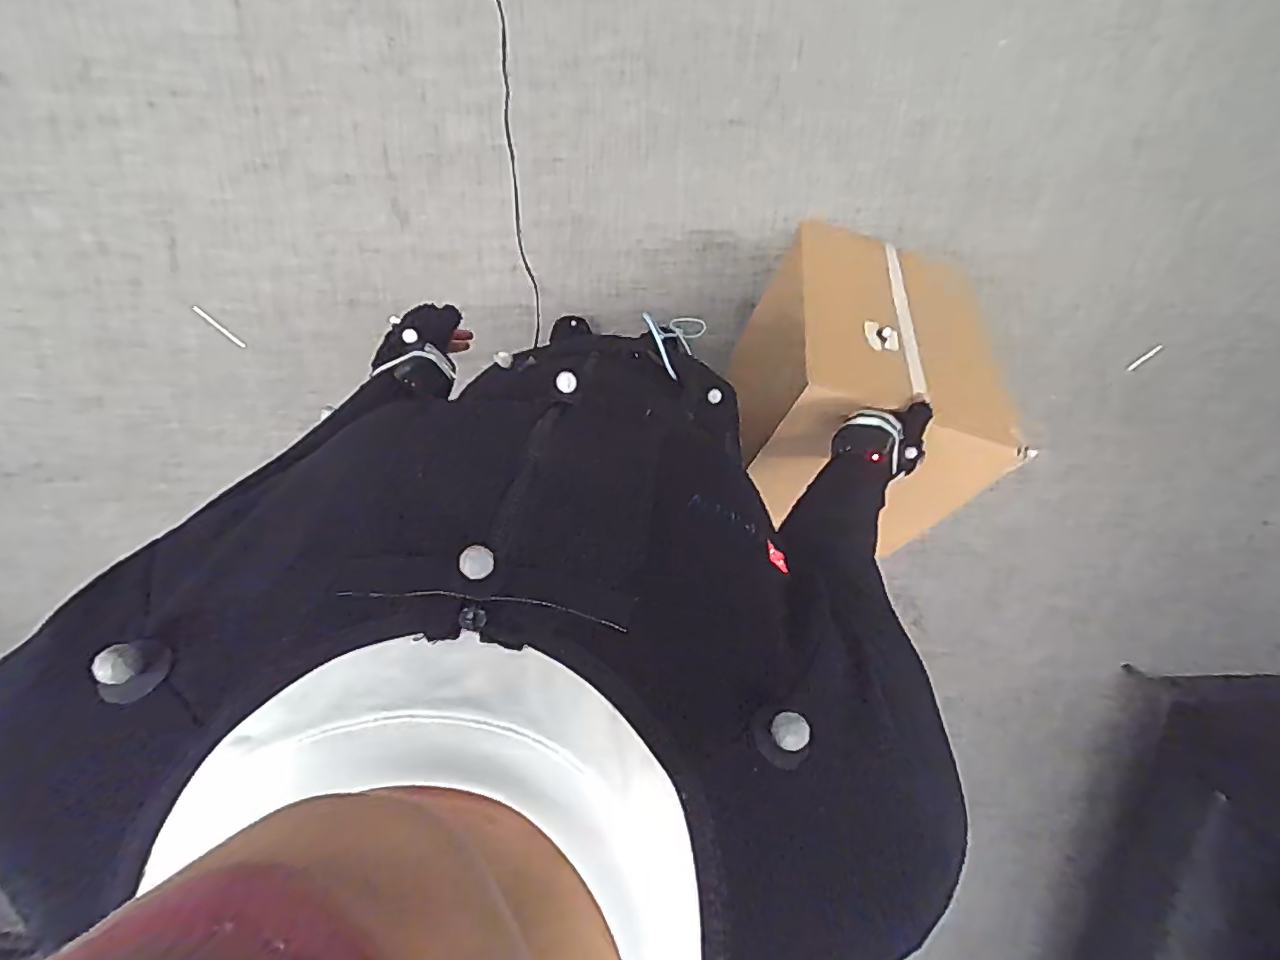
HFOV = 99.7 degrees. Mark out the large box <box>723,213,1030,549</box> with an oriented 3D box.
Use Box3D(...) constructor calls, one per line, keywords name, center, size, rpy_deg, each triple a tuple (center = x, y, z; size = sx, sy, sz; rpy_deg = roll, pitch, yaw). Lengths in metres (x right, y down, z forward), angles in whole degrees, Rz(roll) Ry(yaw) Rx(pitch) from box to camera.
Box3D(name="large box", center=(0.343, -0.154, 0.902), size=(0.320, 0.408, 0.320), rpy_deg=(15, 145, -6))
